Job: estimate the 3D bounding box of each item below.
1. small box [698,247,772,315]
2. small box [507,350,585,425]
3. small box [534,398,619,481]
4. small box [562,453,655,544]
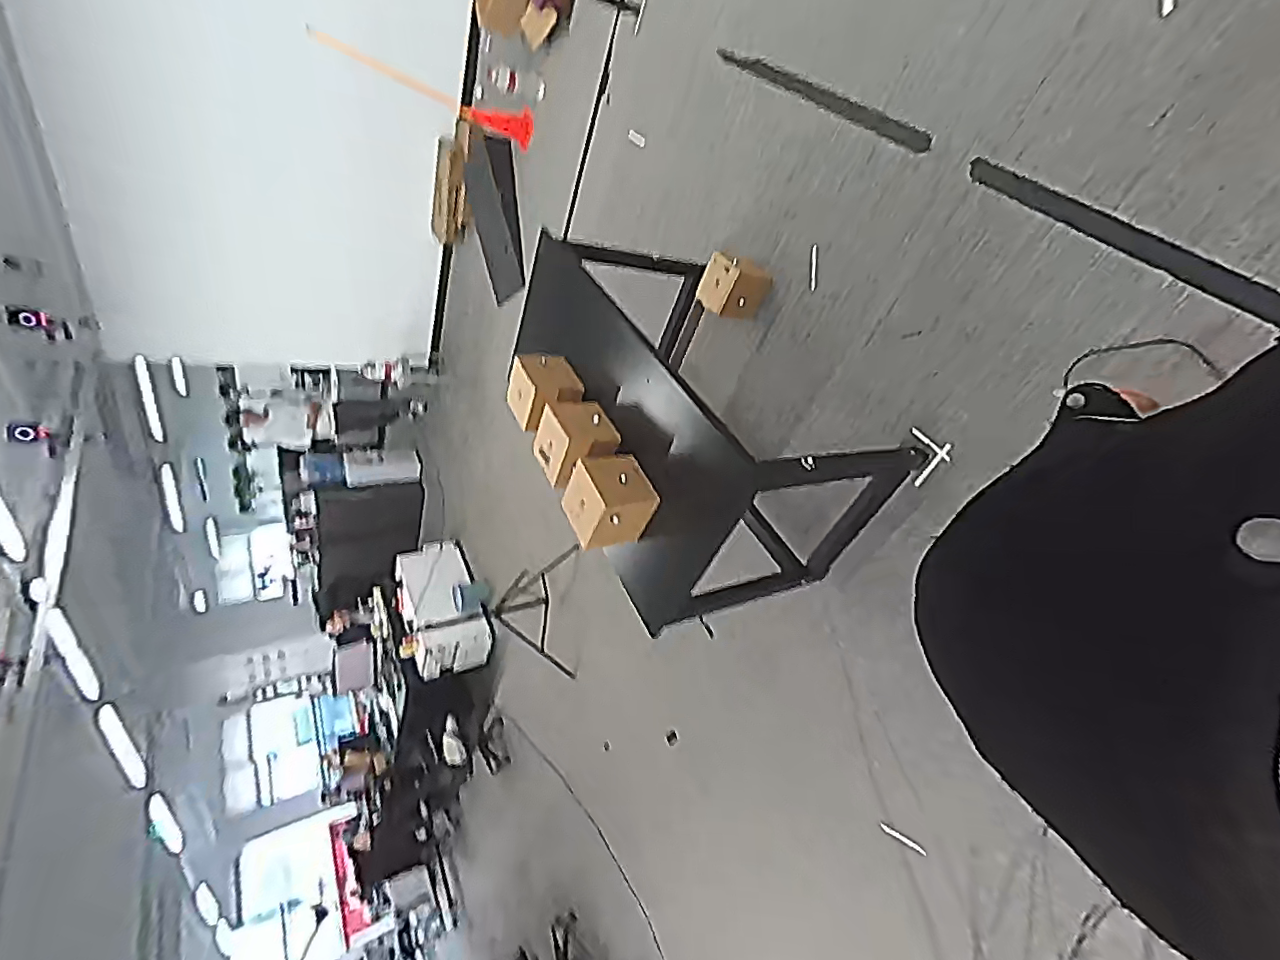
[{"bbox_3d":[0.348,-0.721,1.975,0.168,0.176,0.179,55,137,34],"label":"small box"},{"bbox_3d":[-0.294,-0.288,1.688,0.179,0.176,0.168,56,138,34],"label":"small box"},{"bbox_3d":[-0.181,-0.116,1.548,0.168,0.176,0.179,56,135,35],"label":"small box"},{"bbox_3d":[-0.080,0.043,1.427,0.168,0.176,0.179,59,139,32],"label":"small box"}]
